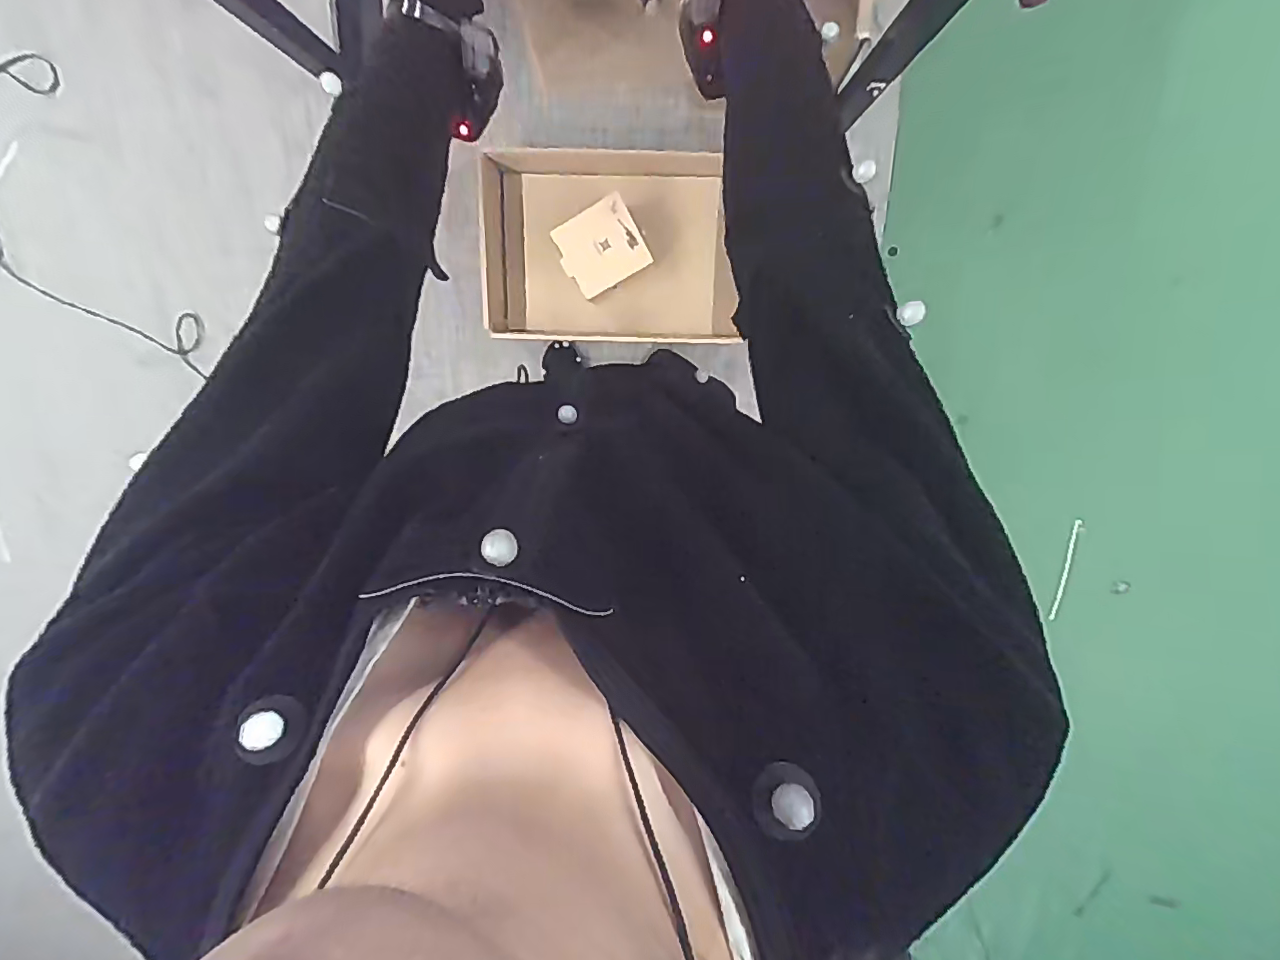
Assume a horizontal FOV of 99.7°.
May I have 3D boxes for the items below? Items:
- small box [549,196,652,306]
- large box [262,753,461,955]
[{"bbox_3d":[-0.082,-0.518,1.253,0.179,0.176,0.168,-27,102,9],"label":"small box"},{"bbox_3d":[-0.849,1.159,1.700,0.408,0.320,0.320,31,103,-5],"label":"large box"}]
